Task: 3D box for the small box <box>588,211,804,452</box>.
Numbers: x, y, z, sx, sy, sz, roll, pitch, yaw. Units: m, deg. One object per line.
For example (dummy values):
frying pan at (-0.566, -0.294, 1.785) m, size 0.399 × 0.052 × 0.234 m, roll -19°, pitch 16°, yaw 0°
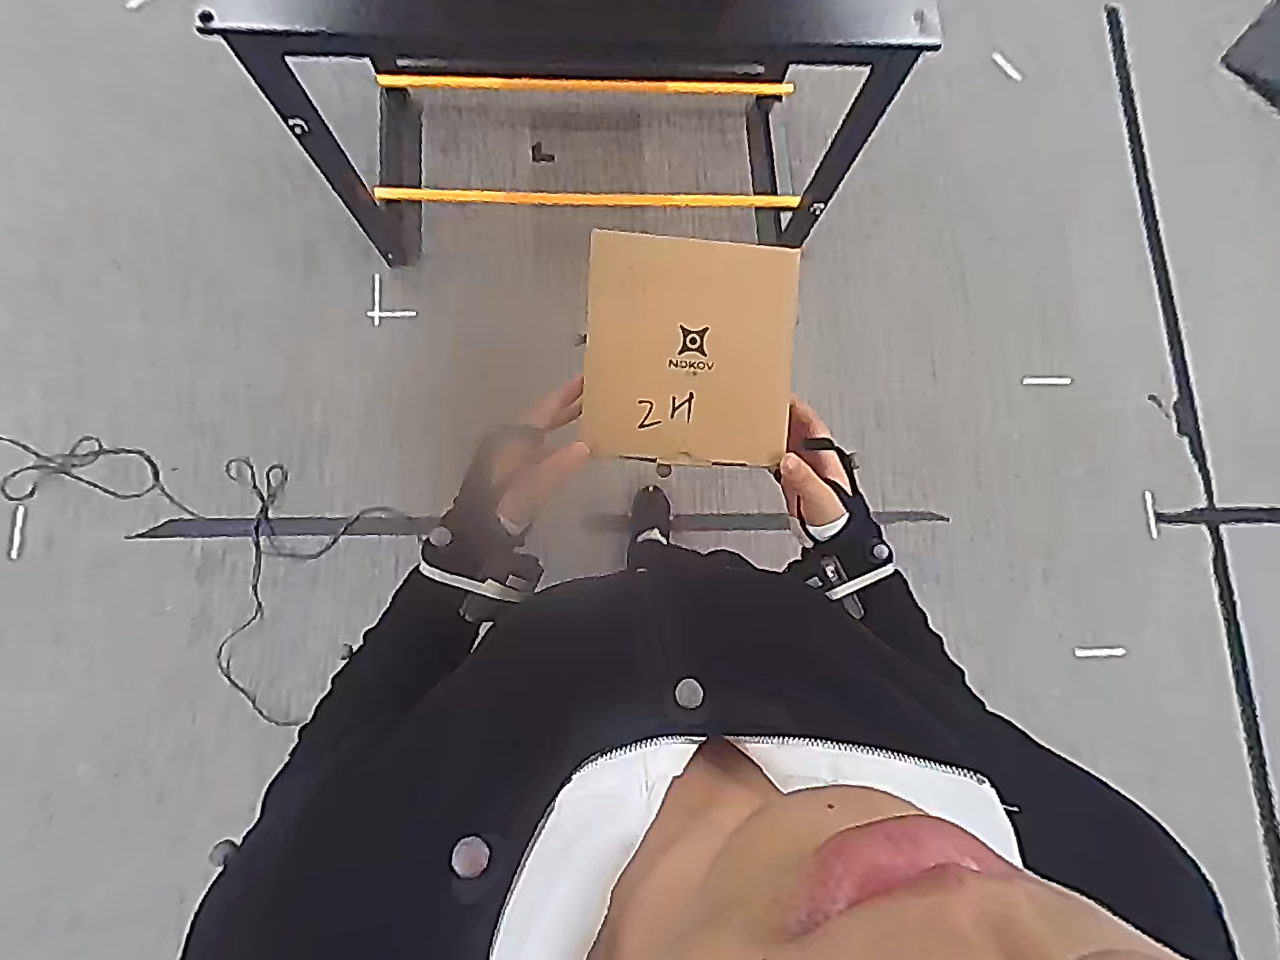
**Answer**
small box at (0.038, -0.119, 0.502) m, size 0.168 × 0.176 × 0.179 m, roll 3°, pitch 93°, yaw -4°
